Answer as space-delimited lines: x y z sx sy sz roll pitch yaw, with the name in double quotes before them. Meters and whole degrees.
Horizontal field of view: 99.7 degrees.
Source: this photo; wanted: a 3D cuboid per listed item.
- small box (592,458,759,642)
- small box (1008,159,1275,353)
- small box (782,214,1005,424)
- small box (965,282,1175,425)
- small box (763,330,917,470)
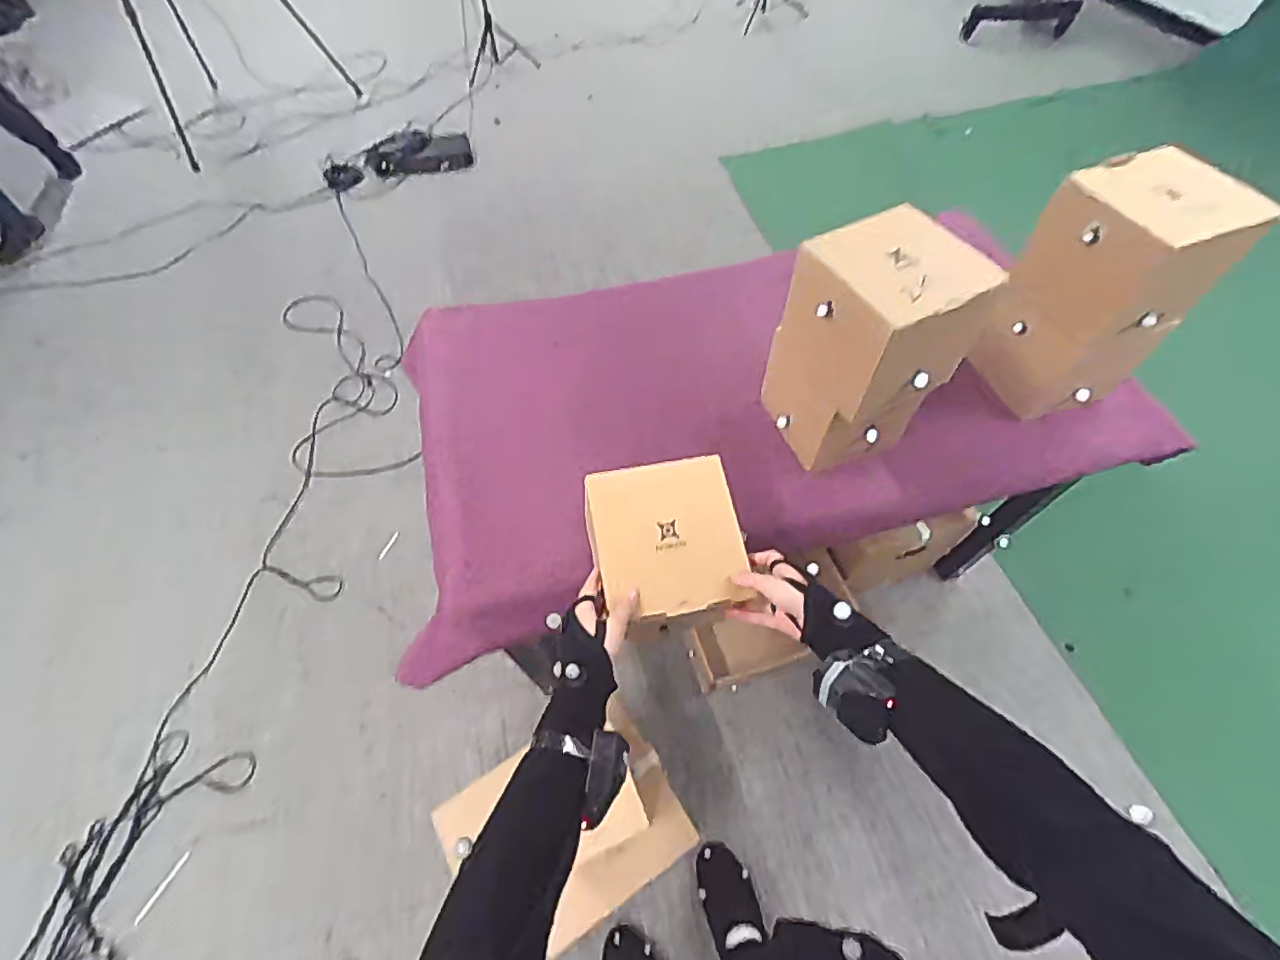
"small box" 0.030 0.094 0.686 0.168 0.176 0.179 -9 67 -8
"small box" 0.671 -0.309 0.756 0.168 0.176 0.179 -18 57 -7
"small box" 0.308 -0.205 0.704 0.168 0.176 0.179 -24 59 -11
"small box" 0.685 -0.221 0.892 0.168 0.176 0.179 -15 58 -6
"small box" 0.314 -0.136 0.856 0.168 0.176 0.179 -18 58 -9
